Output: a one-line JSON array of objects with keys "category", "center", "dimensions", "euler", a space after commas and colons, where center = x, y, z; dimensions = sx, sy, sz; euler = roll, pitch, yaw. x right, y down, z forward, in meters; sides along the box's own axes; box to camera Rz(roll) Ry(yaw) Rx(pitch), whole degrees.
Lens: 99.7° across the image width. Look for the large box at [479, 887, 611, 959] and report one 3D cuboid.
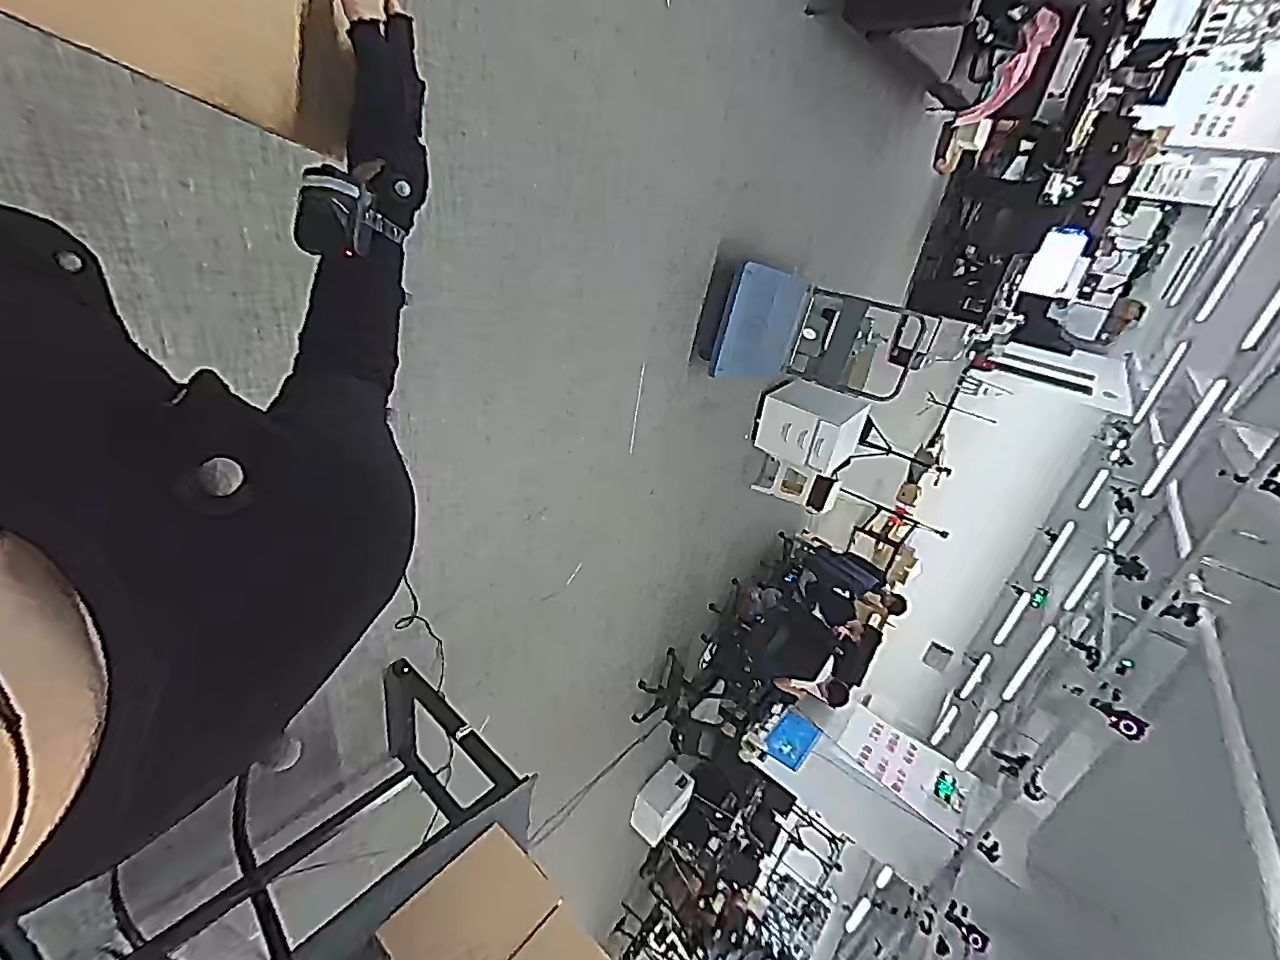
[{"category": "large box", "center": [-0.299, 1.402, 1.401], "dimensions": [0.408, 0.320, 0.320], "euler": [-22, 132, -47]}]
